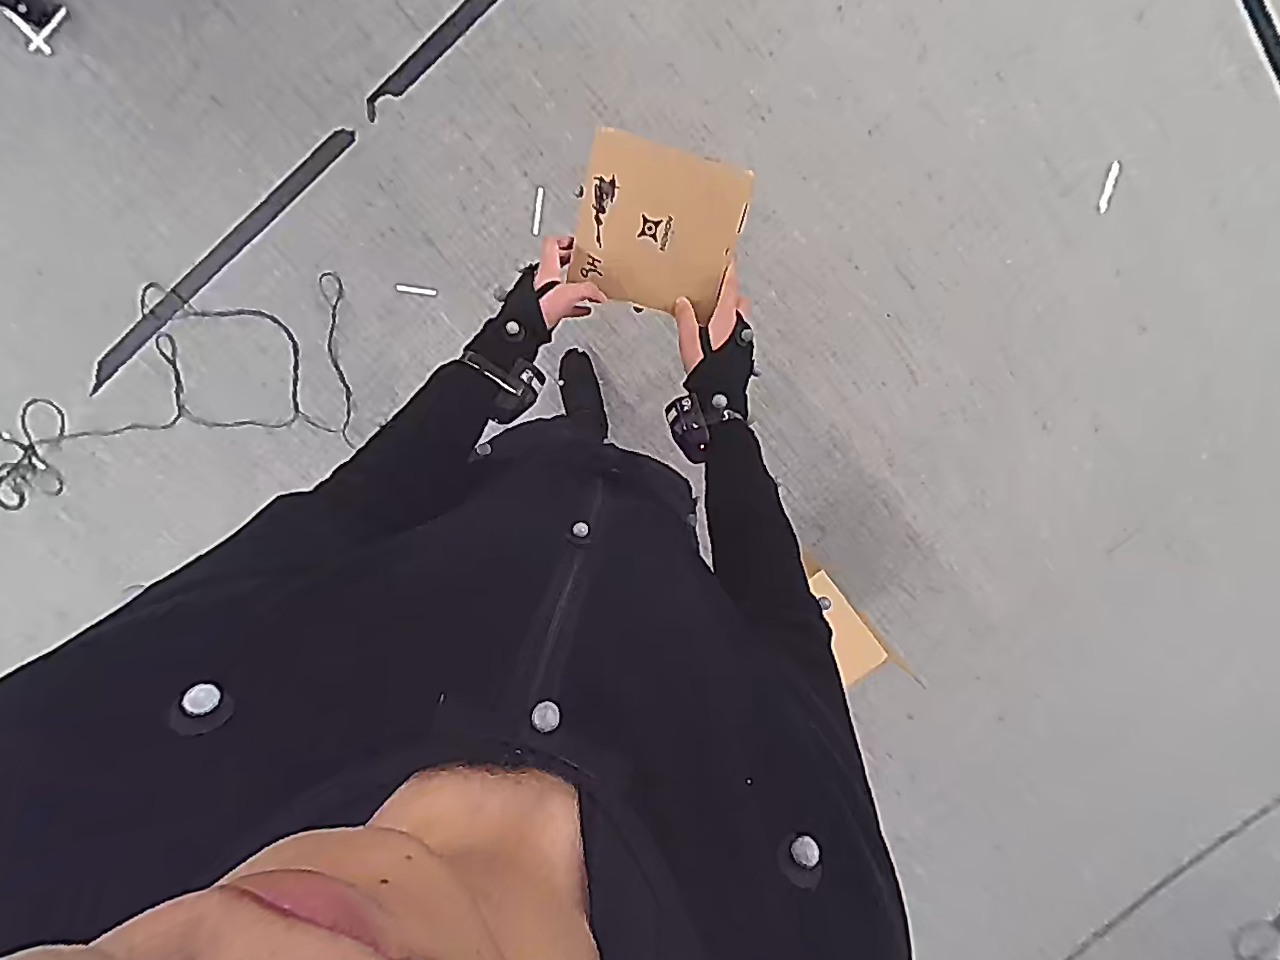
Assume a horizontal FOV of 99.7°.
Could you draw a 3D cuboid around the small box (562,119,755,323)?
[{"bbox_3d":[0.017,-0.306,0.656,0.179,0.176,0.168,14,113,-5],"label":"small box"}]
